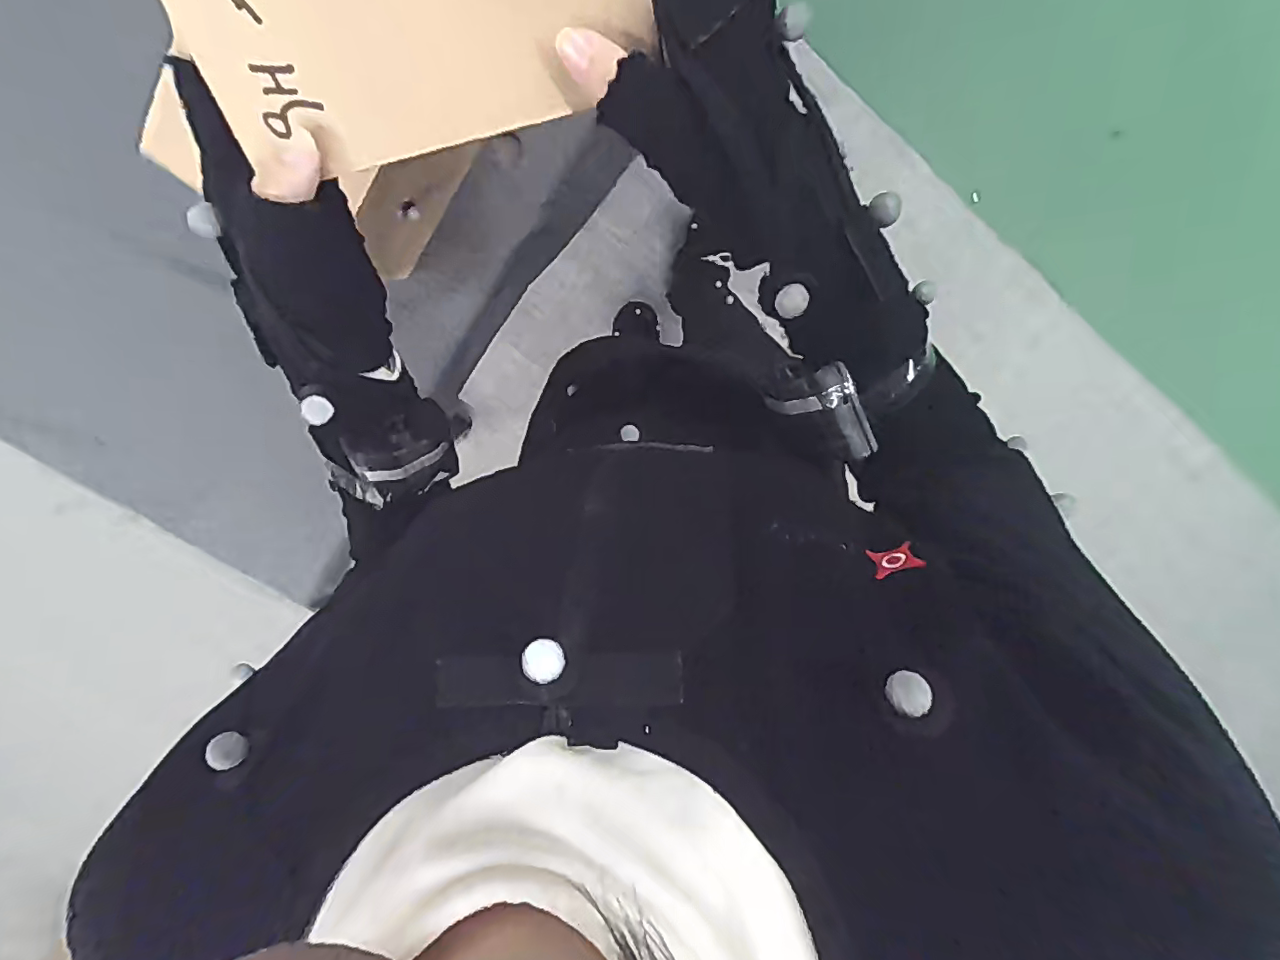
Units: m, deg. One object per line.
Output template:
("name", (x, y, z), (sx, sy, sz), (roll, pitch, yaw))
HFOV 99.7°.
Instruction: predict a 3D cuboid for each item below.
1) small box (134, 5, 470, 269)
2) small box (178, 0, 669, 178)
("small box", (-0.279, -0.317, 0.492), (0.168, 0.176, 0.179), (39, 107, -10))
("small box", (-0.093, -0.254, 0.243), (0.179, 0.176, 0.168), (-11, 125, 2))
